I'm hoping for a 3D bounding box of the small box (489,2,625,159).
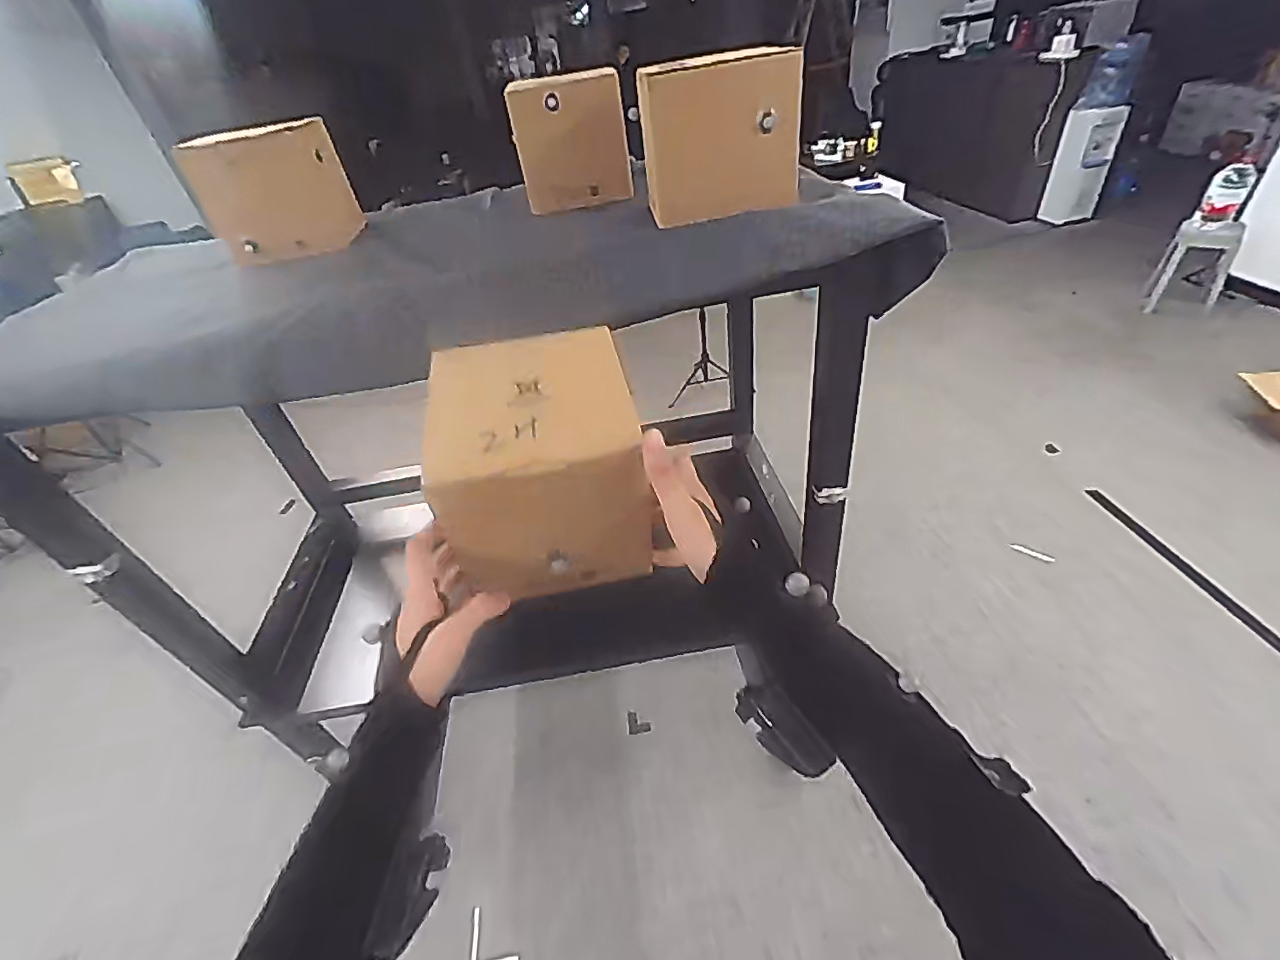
[{"bbox_3d":[-0.120,-0.611,0.835,0.168,0.176,0.179,-10,39,0],"label":"small box"}]

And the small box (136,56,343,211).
[{"bbox_3d":[-0.584,-0.524,0.822,0.168,0.176,0.179,-12,40,-4],"label":"small box"}]
